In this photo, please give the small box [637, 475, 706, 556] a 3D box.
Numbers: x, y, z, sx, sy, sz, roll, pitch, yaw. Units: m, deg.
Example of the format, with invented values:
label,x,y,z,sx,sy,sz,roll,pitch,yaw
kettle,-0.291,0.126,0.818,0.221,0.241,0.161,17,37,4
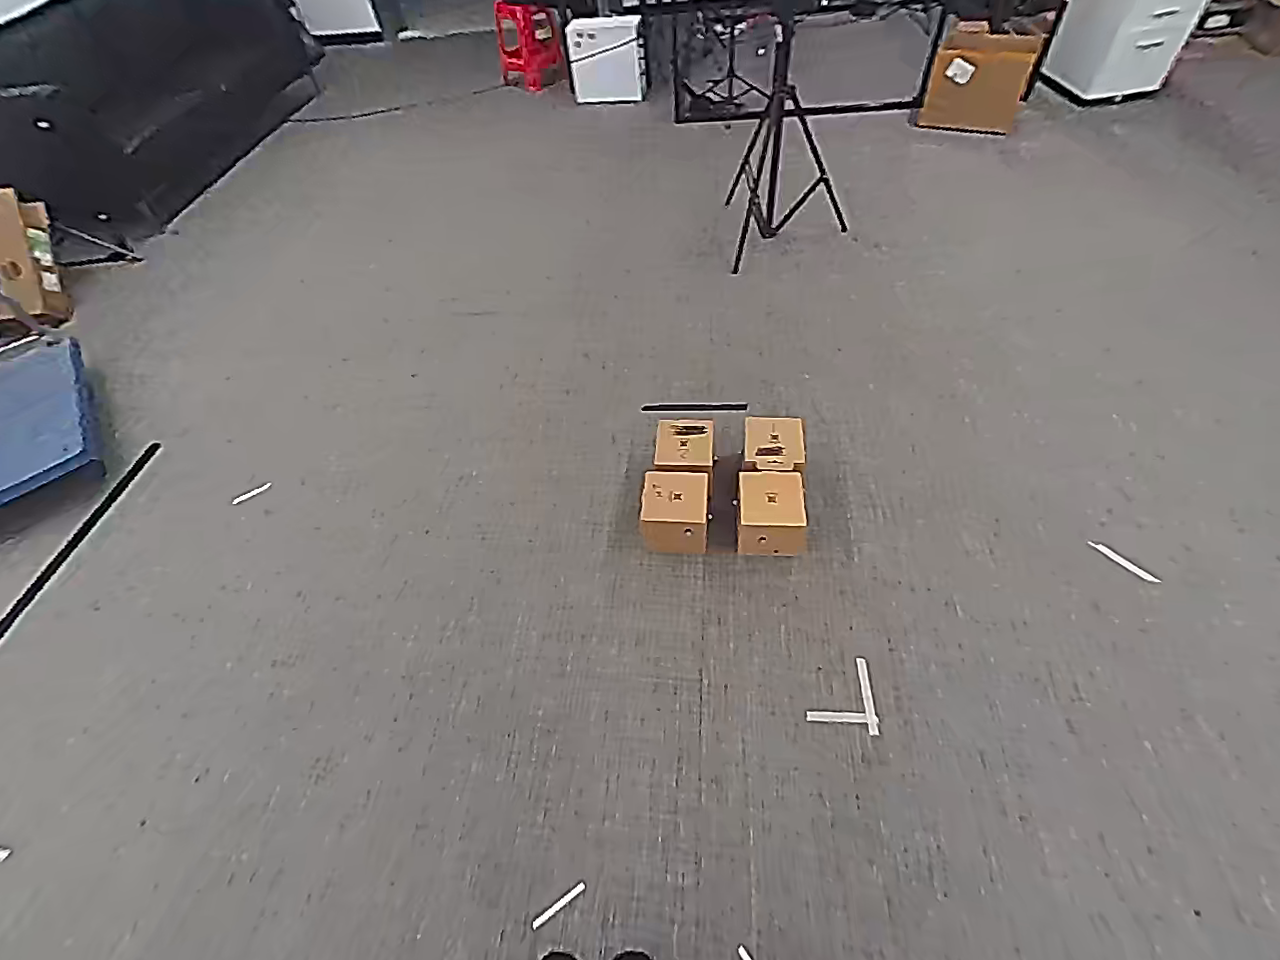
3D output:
label,x,y,z,sx,sy,sz,roll,pitch,yaw
small box,0.092,0.102,1.514,0.179,0.176,0.168,1,53,8
